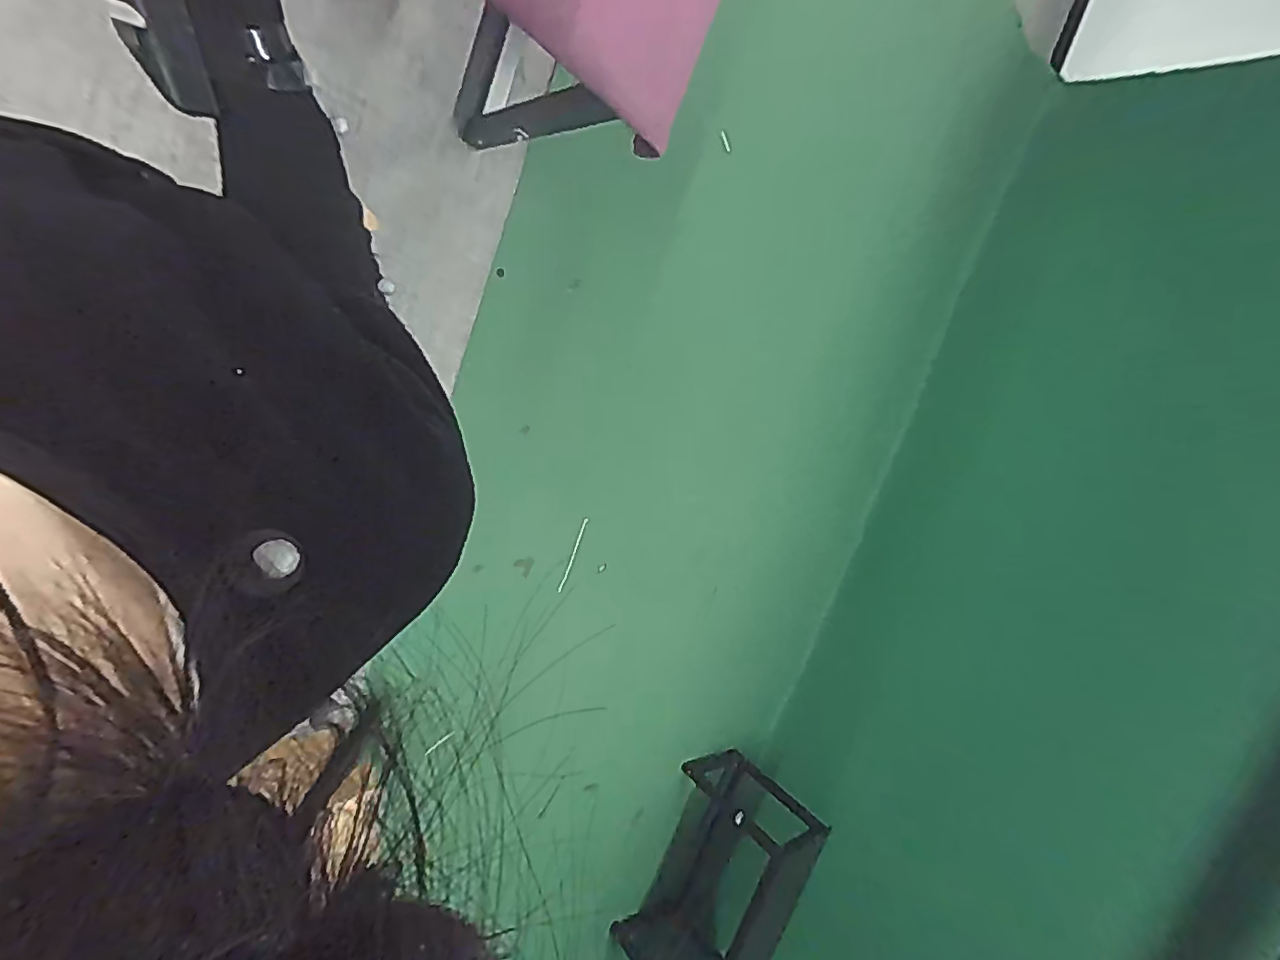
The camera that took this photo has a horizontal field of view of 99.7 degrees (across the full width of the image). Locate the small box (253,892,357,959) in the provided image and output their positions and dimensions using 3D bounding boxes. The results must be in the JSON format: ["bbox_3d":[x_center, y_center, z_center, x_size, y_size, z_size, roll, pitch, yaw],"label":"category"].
[{"bbox_3d":[-0.753,1.075,1.207,0.168,0.176,0.179,1,108,-43],"label":"small box"}]

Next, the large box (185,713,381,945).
[{"bbox_3d":[-0.988,0.935,1.512,0.408,0.320,0.320,-7,115,-43],"label":"large box"}]

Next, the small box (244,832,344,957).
[{"bbox_3d":[-0.850,1.018,1.326,0.179,0.176,0.168,-1,109,-42],"label":"small box"}]
